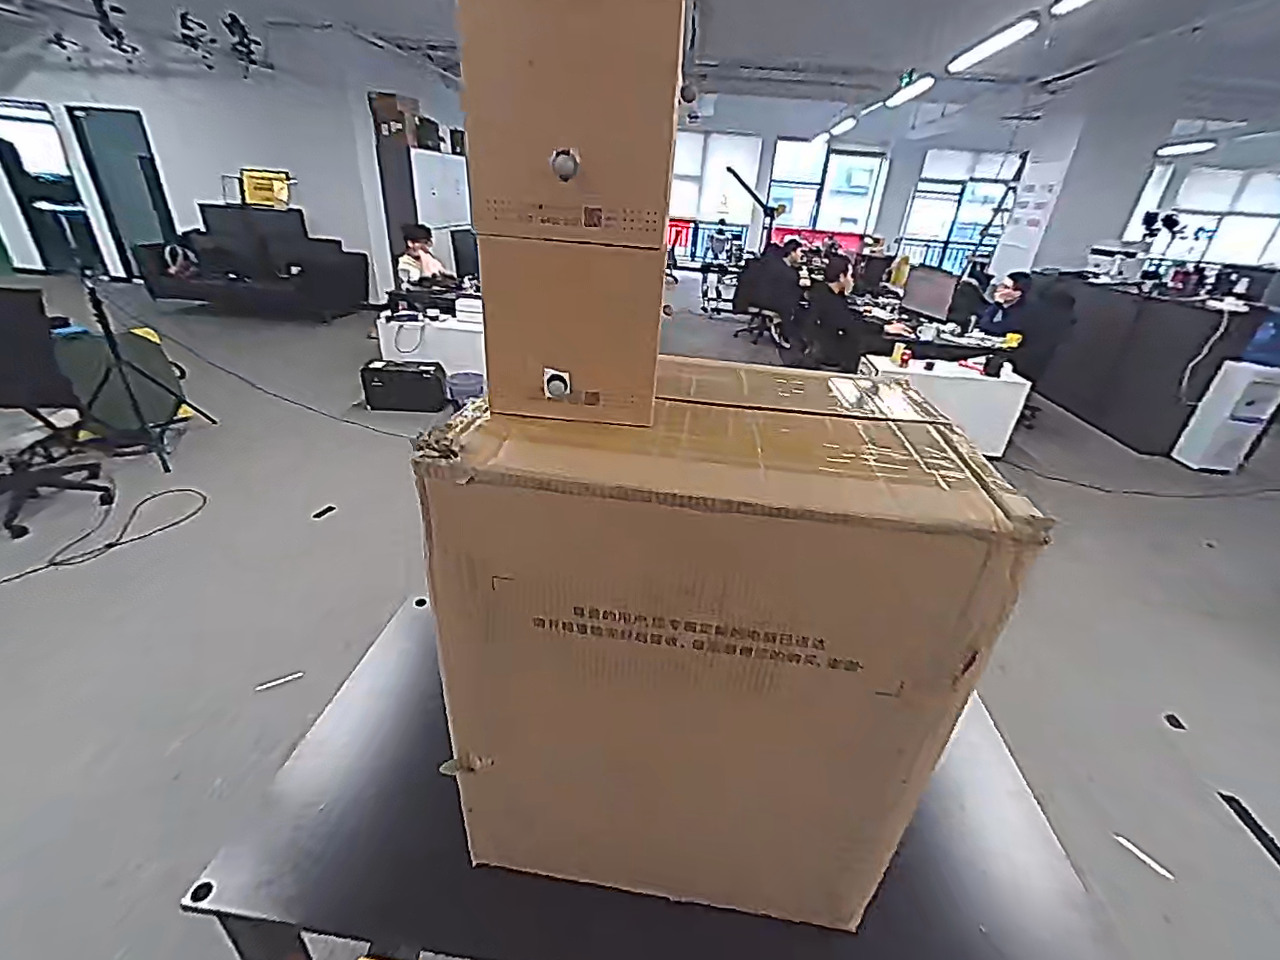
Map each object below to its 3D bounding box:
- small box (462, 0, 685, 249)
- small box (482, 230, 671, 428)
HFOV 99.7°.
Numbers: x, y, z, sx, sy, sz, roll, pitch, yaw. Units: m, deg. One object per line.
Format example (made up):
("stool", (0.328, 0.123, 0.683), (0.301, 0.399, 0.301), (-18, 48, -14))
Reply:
("small box", (-0.049, -0.313, 0.490), (0.168, 0.176, 0.179), (5, 29, 2))
("small box", (-0.058, -0.169, 0.570), (0.168, 0.176, 0.179), (4, 30, -1))
